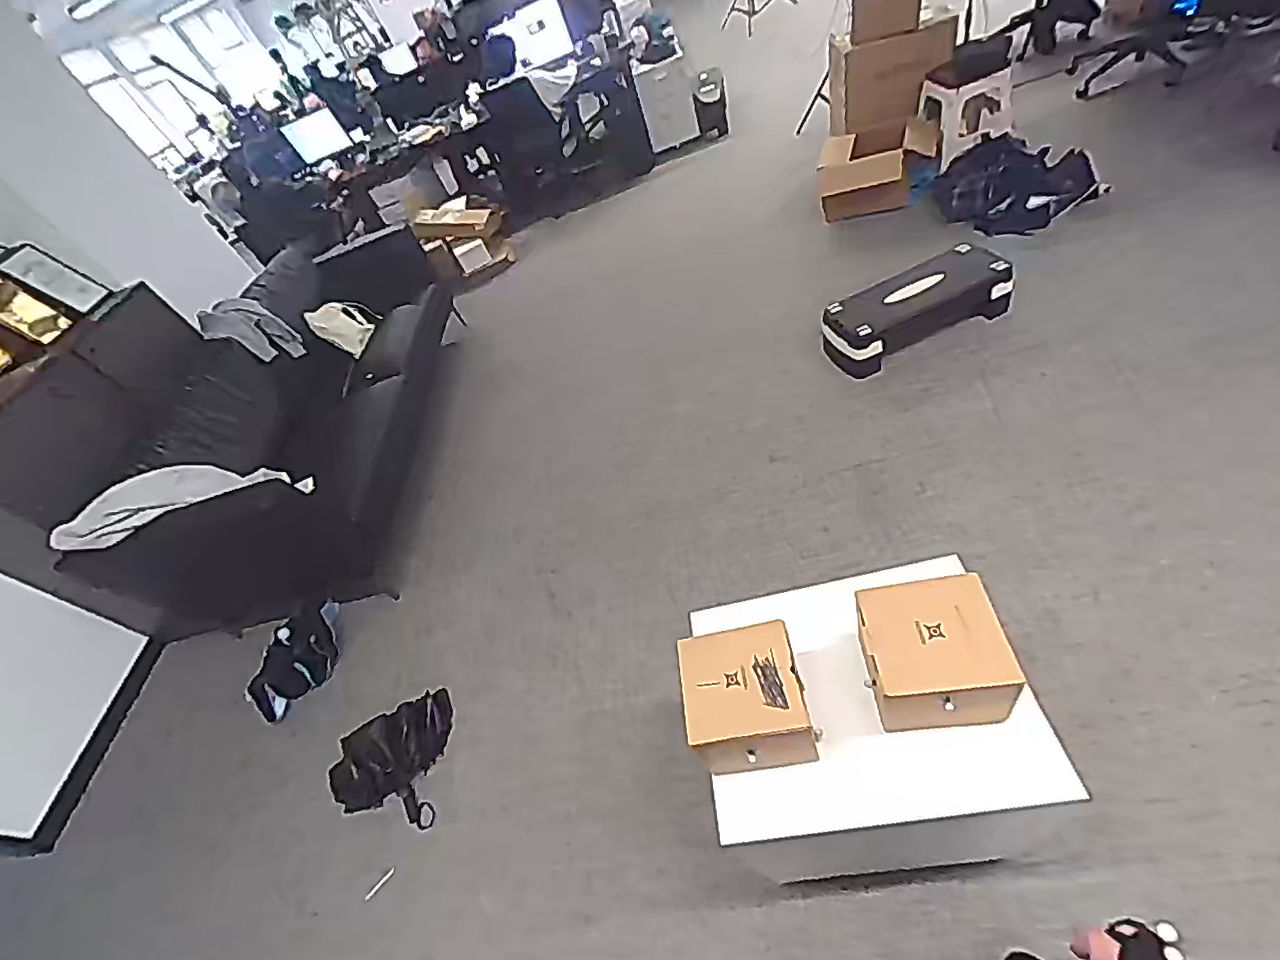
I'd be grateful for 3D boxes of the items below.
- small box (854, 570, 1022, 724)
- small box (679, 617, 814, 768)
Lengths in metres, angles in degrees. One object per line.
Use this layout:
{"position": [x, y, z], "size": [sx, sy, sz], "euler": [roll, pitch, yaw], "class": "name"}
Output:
{"position": [0.439, 0.261, 0.824], "size": [0.179, 0.176, 0.168], "euler": [-12, 49, 14], "class": "small box"}
{"position": [0.174, 0.345, 0.868], "size": [0.179, 0.176, 0.168], "euler": [-15, 46, 12], "class": "small box"}
